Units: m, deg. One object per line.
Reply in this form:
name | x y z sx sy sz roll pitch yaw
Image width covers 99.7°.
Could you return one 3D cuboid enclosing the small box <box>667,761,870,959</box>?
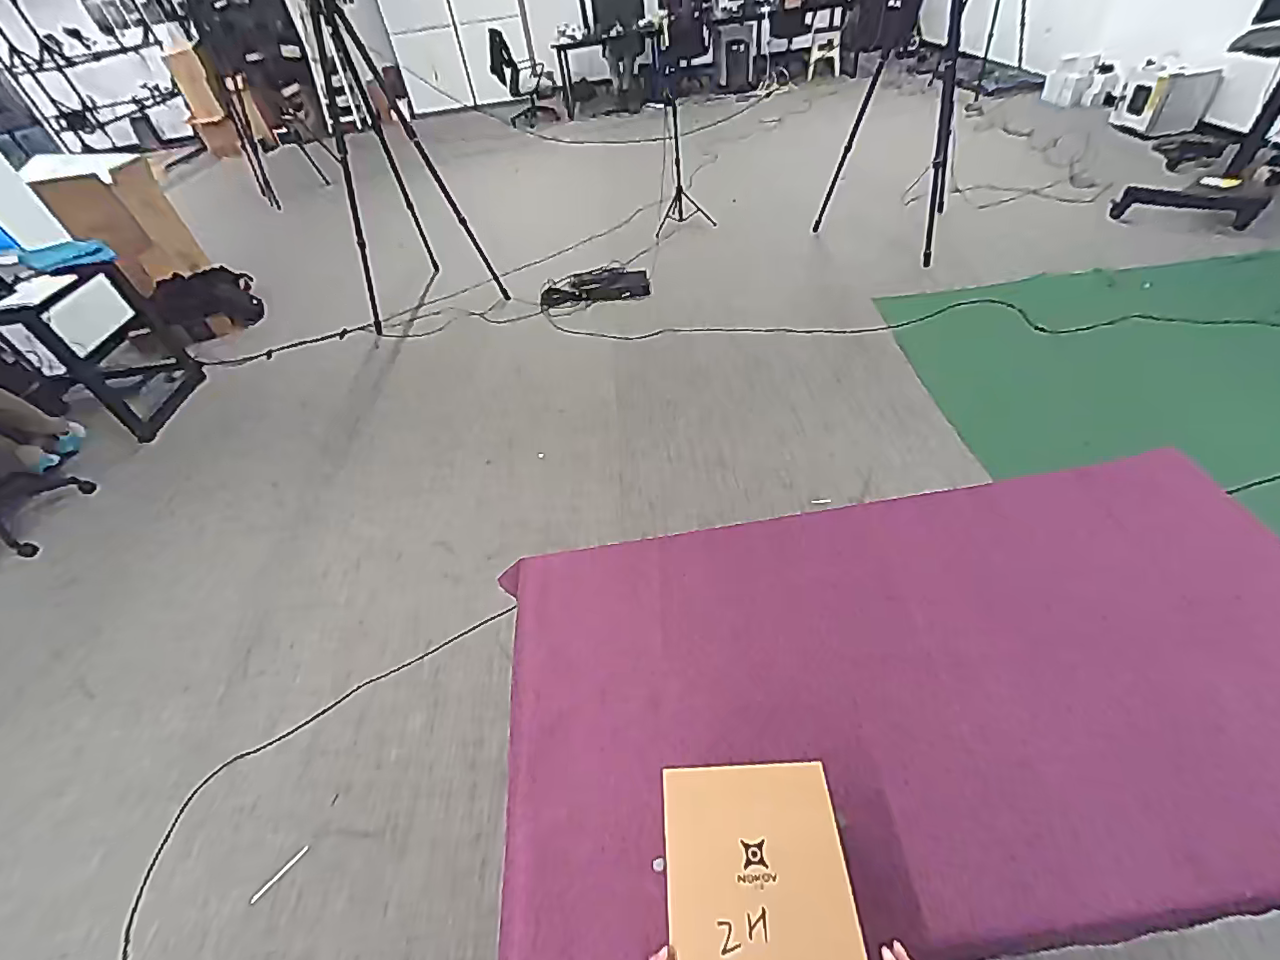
small box | 0.117 0.413 0.553 0.168 0.176 0.179 -6 44 4
